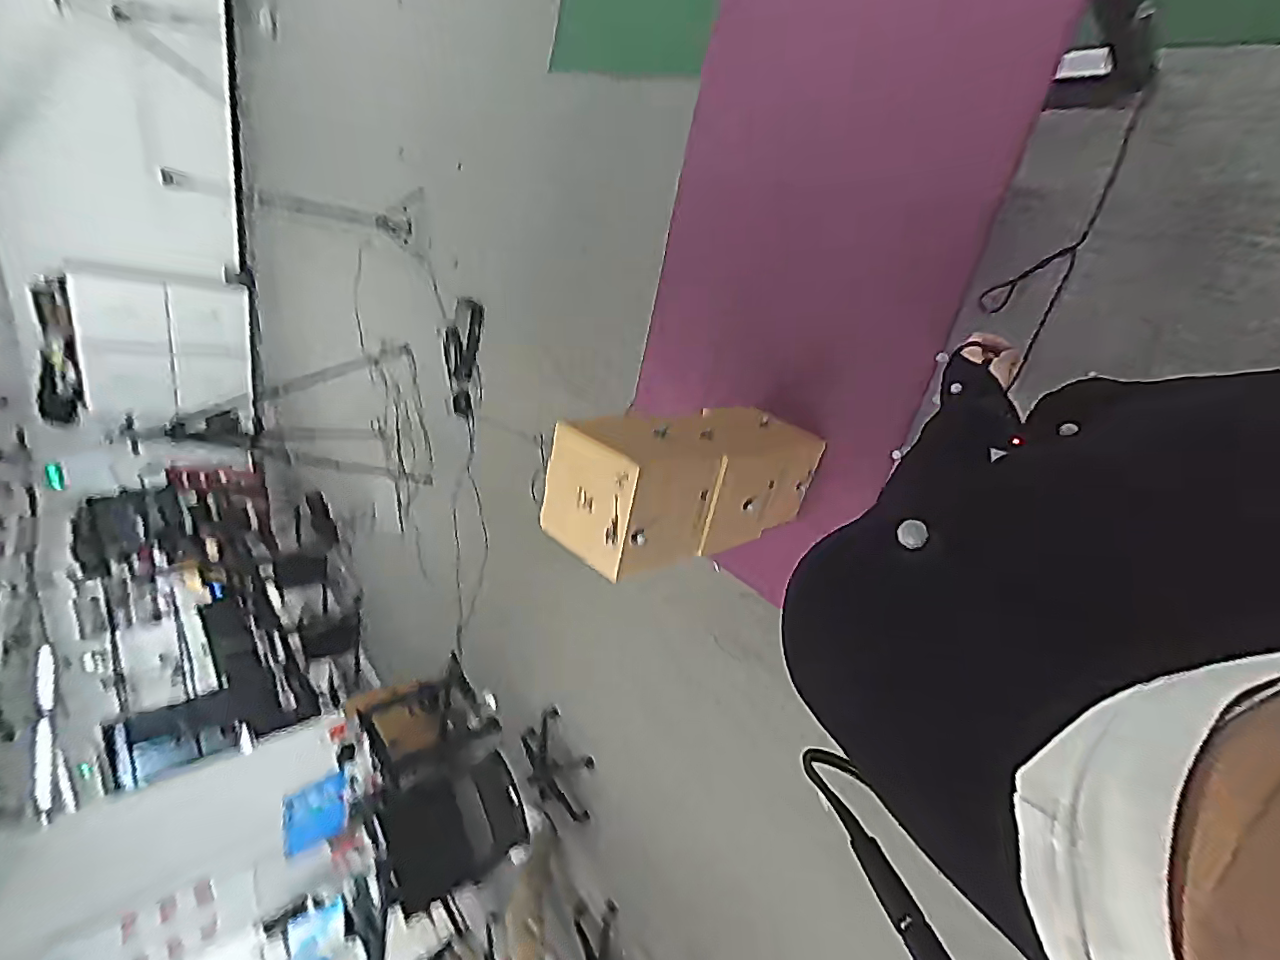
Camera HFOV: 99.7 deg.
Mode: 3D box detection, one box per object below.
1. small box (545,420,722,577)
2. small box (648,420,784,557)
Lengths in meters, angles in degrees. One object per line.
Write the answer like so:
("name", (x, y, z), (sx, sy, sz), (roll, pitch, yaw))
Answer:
("small box", (-0.012, 0.016, 0.791), (0.179, 0.176, 0.168), (30, 117, 39))
("small box", (0.111, 0.001, 0.900), (0.179, 0.176, 0.168), (30, 117, 38))
